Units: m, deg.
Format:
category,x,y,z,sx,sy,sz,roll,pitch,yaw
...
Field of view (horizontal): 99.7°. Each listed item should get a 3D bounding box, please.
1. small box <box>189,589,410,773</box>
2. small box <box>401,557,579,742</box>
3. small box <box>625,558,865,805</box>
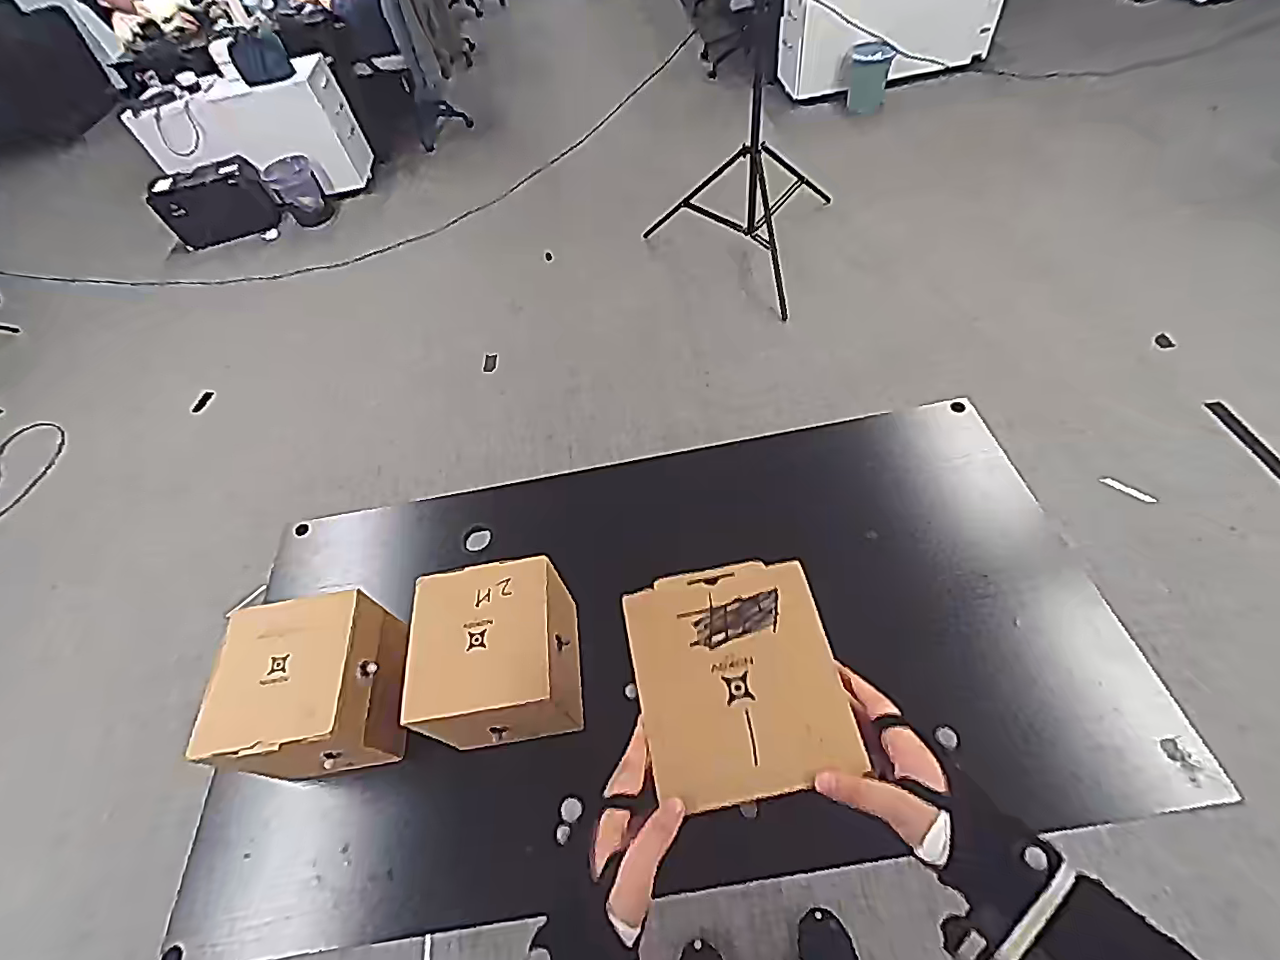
category,x,y,z,sx,sy,sz,roll,pitch,yaw
small box,-0.411,0.265,0.696,0.168,0.176,0.179,-10,53,0
small box,-0.175,0.222,0.686,0.168,0.176,0.179,-9,54,1
small box,0.083,0.197,0.520,0.168,0.176,0.179,-11,61,-1
